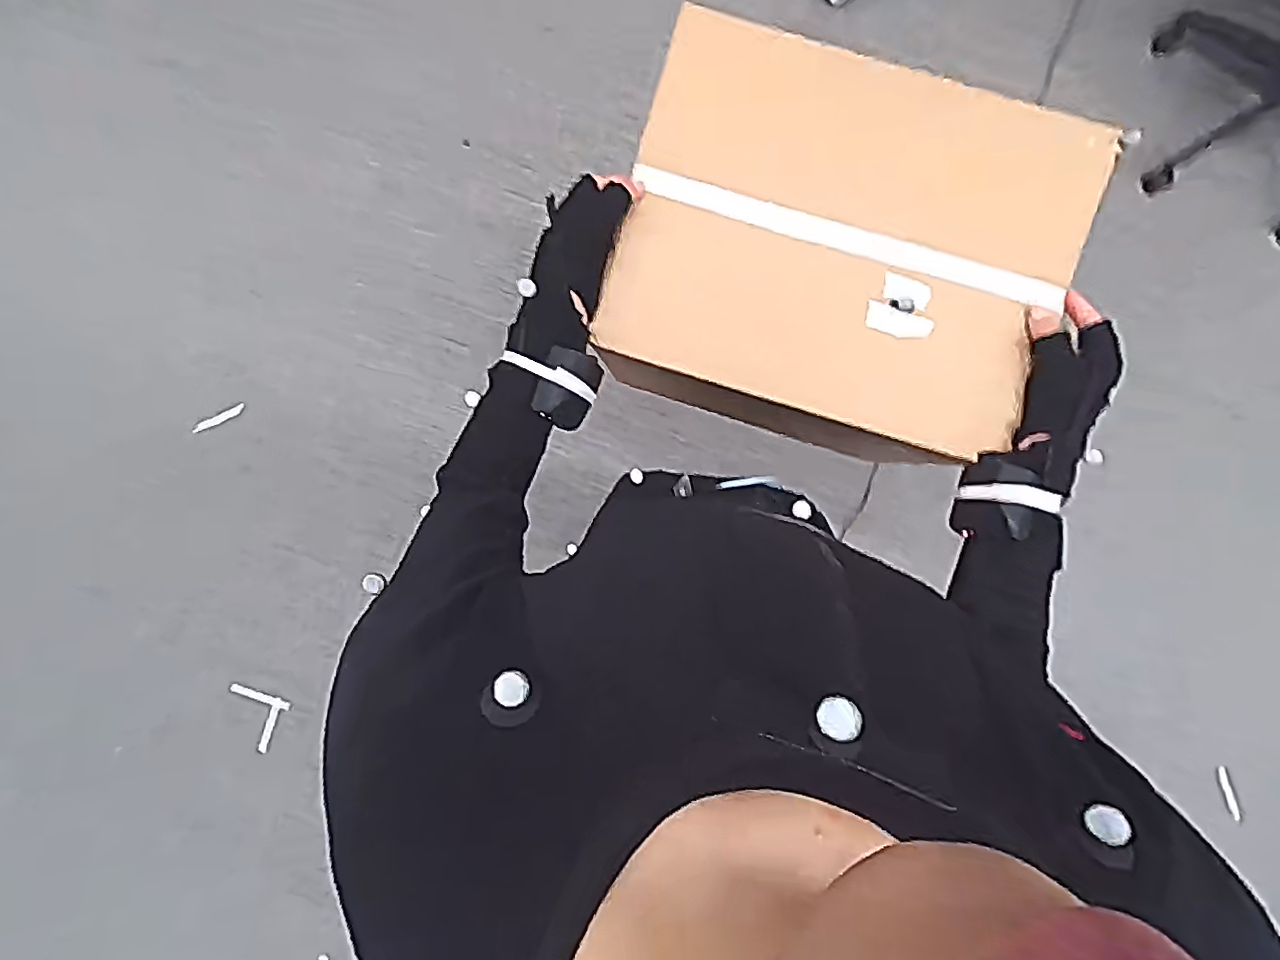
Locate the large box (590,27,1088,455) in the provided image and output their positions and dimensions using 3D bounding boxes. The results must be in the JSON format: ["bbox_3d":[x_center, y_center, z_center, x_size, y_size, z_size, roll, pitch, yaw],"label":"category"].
[{"bbox_3d":[0.184,-0.232,0.657,0.408,0.320,0.320,18,95,1],"label":"large box"}]
